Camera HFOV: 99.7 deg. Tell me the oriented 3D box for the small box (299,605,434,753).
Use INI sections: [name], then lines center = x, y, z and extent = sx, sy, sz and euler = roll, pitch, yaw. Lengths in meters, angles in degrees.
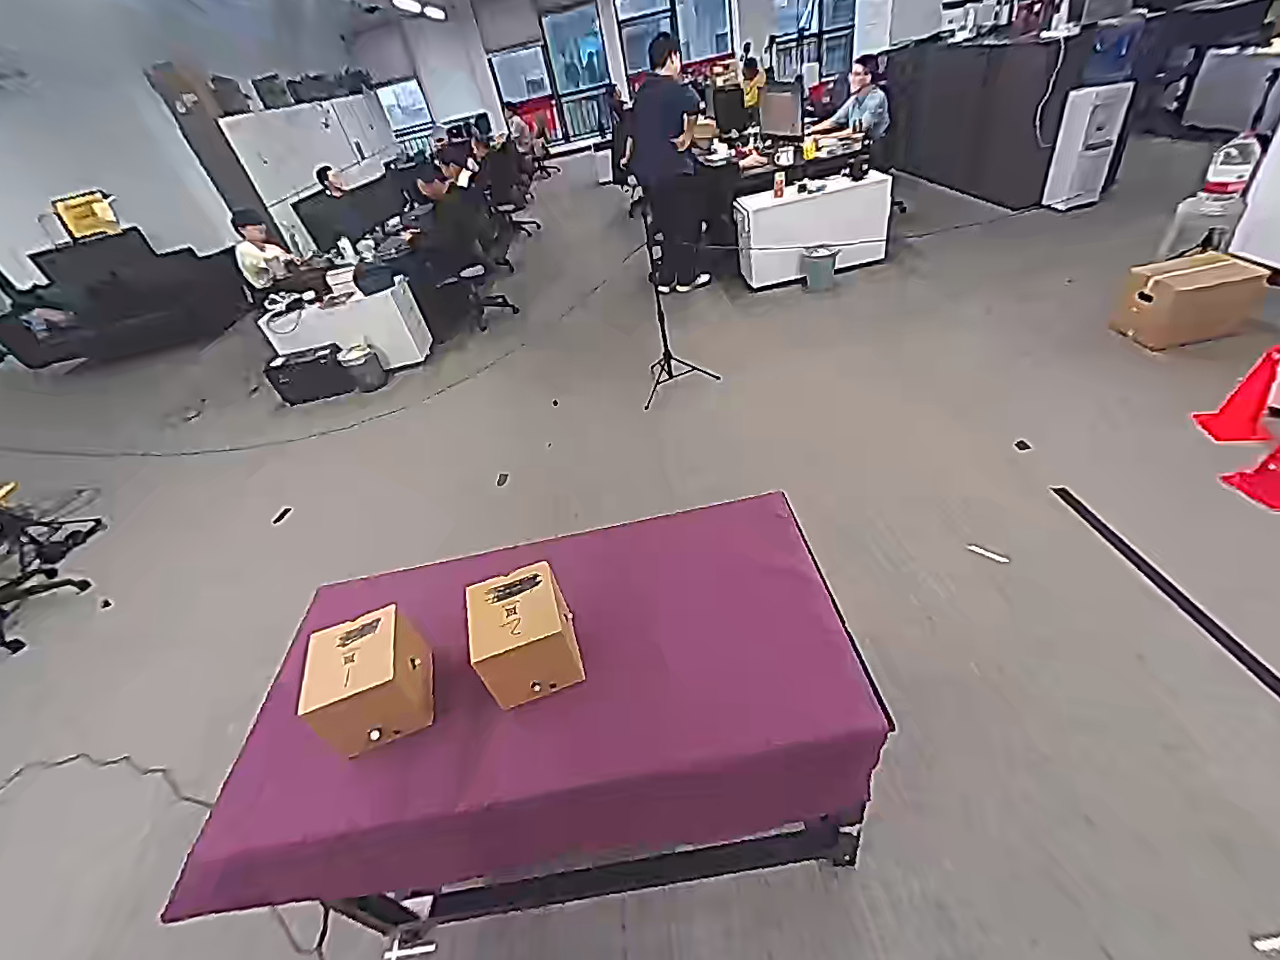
[small box]
center = -0.504, 0.377, 1.026
extent = 0.168, 0.176, 0.179
euler = -20, 40, -7
